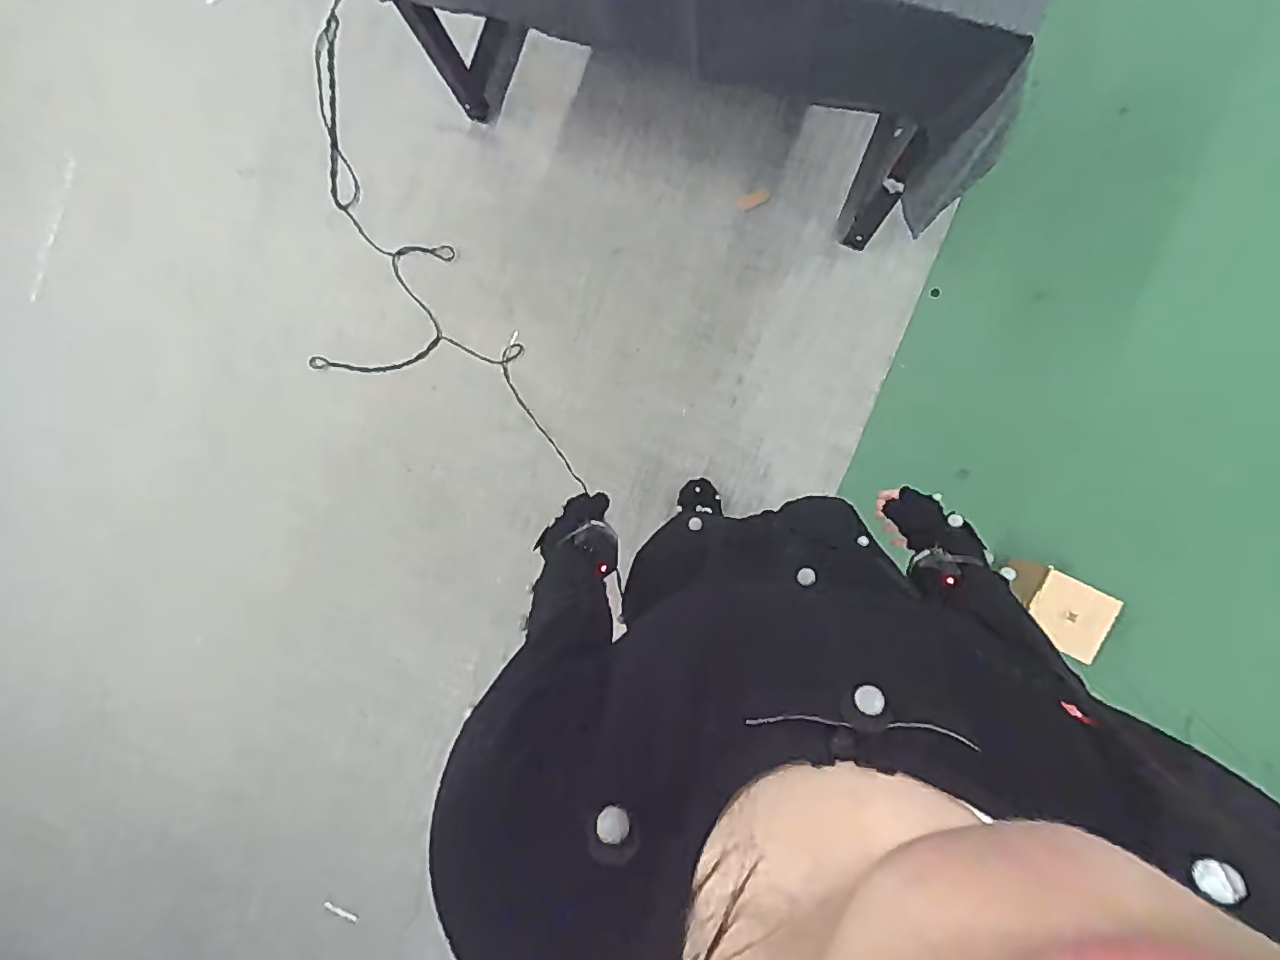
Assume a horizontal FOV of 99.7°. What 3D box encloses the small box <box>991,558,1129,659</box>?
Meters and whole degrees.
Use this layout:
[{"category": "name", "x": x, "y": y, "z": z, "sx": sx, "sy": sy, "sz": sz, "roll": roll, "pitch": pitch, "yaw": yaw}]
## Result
[{"category": "small box", "x": 1.007, "y": 0.301, "z": 1.317, "sx": 0.179, "sy": 0.176, "sz": 0.168, "roll": 27, "pitch": 94, "yaw": 6}]
